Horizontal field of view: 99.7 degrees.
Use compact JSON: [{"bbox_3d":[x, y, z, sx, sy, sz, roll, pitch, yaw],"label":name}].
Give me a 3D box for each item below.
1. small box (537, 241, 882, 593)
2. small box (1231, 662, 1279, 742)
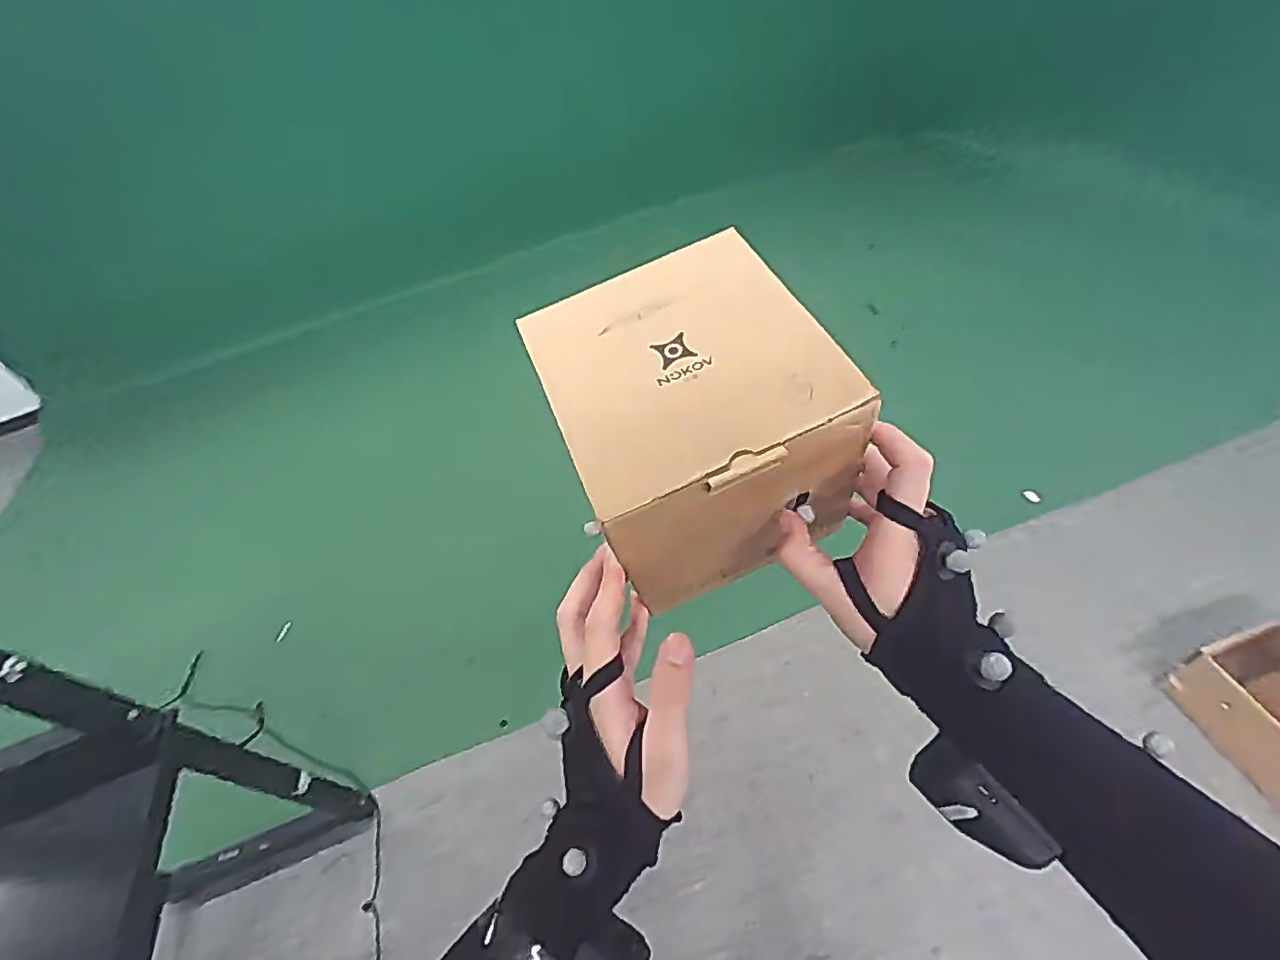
[{"bbox_3d":[0.045,-0.033,0.405,0.168,0.176,0.179,-23,58,-3],"label":"small box"},{"bbox_3d":[1.524,0.492,1.227,0.179,0.176,0.168,-21,50,-5],"label":"small box"}]
